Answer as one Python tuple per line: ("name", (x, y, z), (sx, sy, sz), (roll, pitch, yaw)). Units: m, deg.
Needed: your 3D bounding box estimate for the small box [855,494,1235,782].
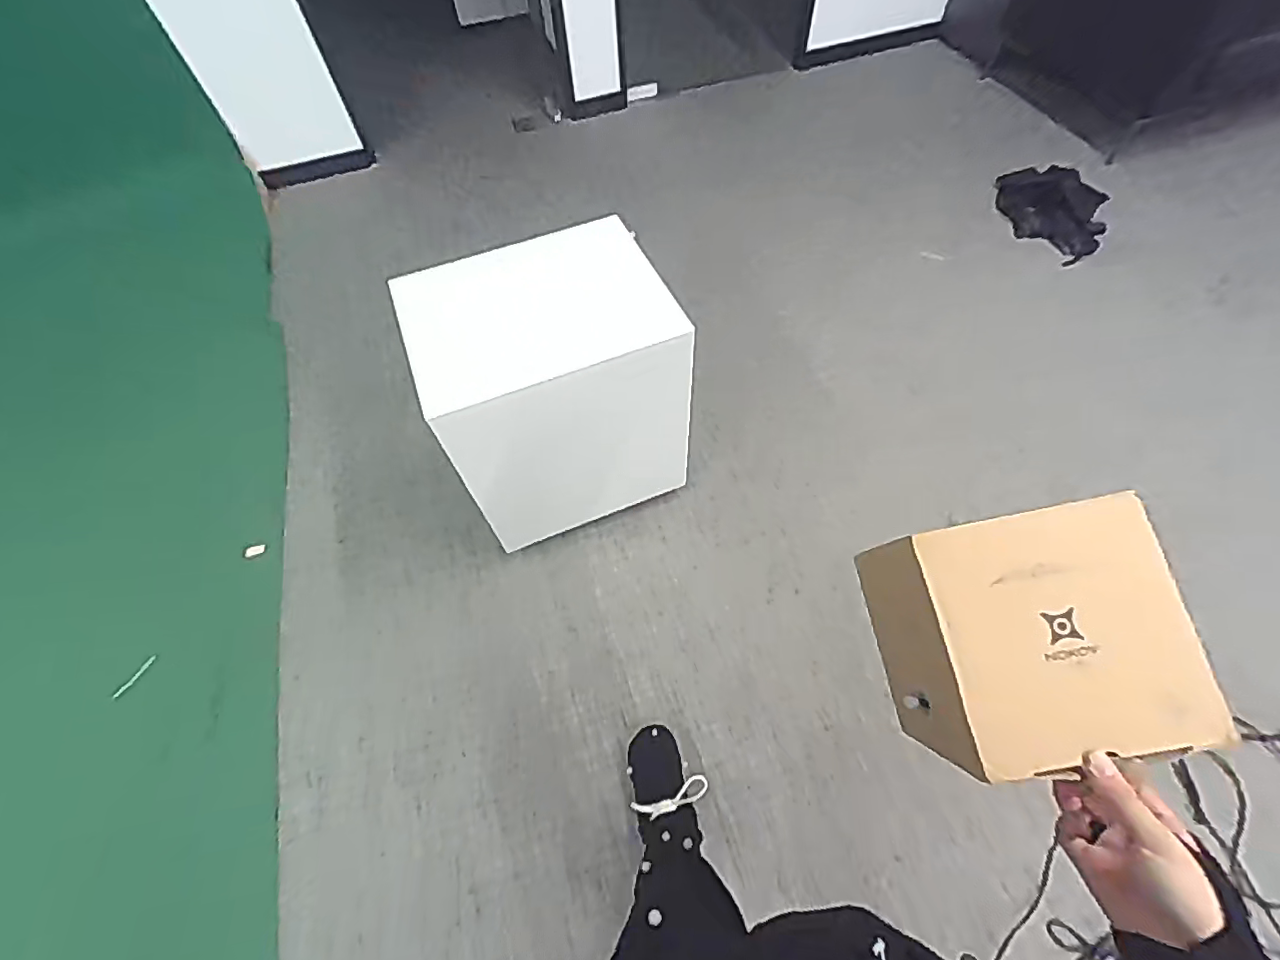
("small box", (0.304, 0.126, 0.457), (0.168, 0.176, 0.179), (-12, 74, 3))
